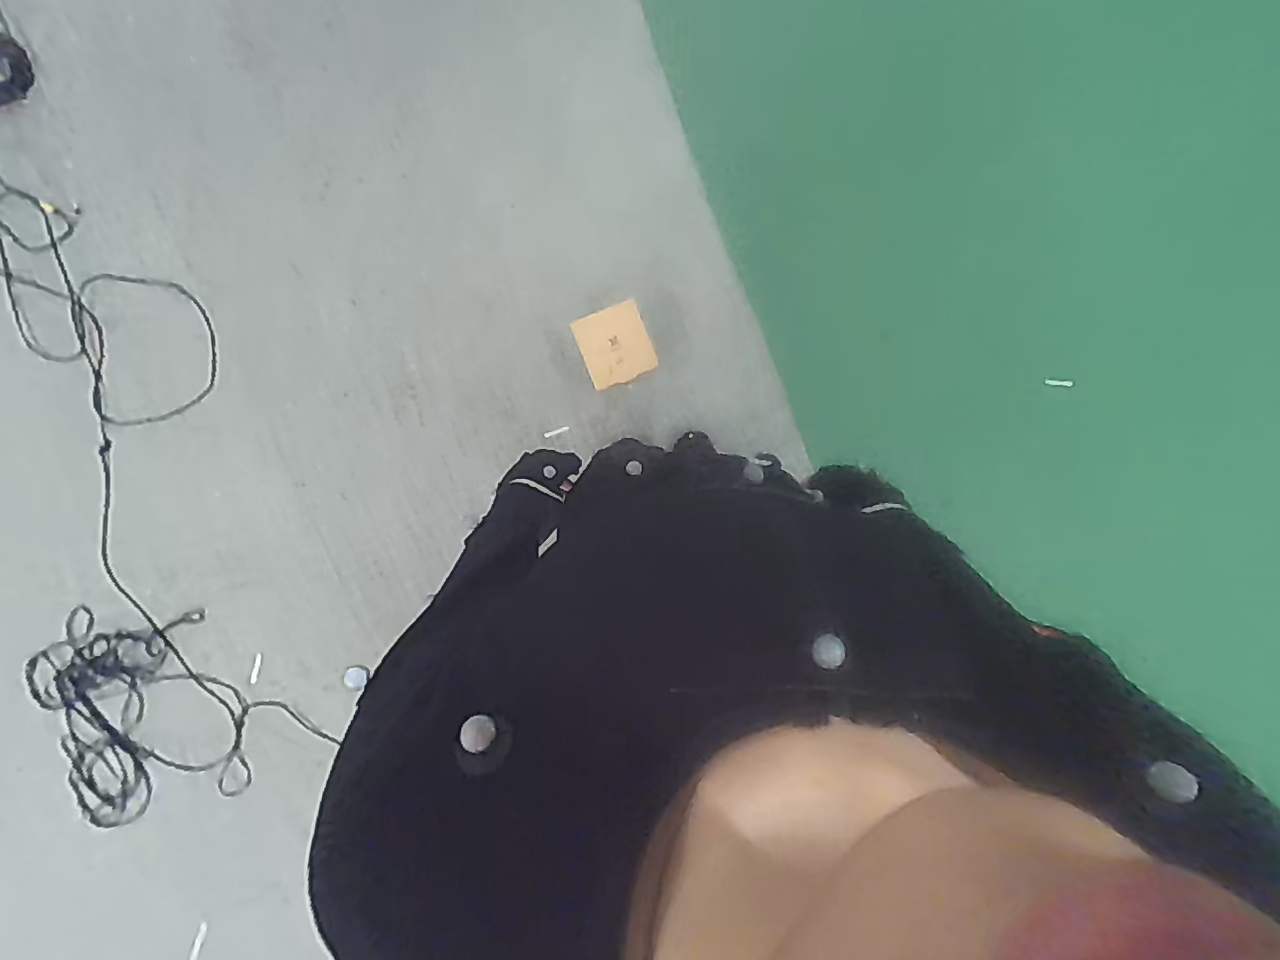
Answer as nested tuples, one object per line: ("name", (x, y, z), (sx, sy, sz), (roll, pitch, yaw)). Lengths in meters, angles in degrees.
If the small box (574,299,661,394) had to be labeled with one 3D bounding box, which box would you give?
("small box", (-0.054, -0.331, 1.376), (0.168, 0.176, 0.179), (-21, 95, 3))
